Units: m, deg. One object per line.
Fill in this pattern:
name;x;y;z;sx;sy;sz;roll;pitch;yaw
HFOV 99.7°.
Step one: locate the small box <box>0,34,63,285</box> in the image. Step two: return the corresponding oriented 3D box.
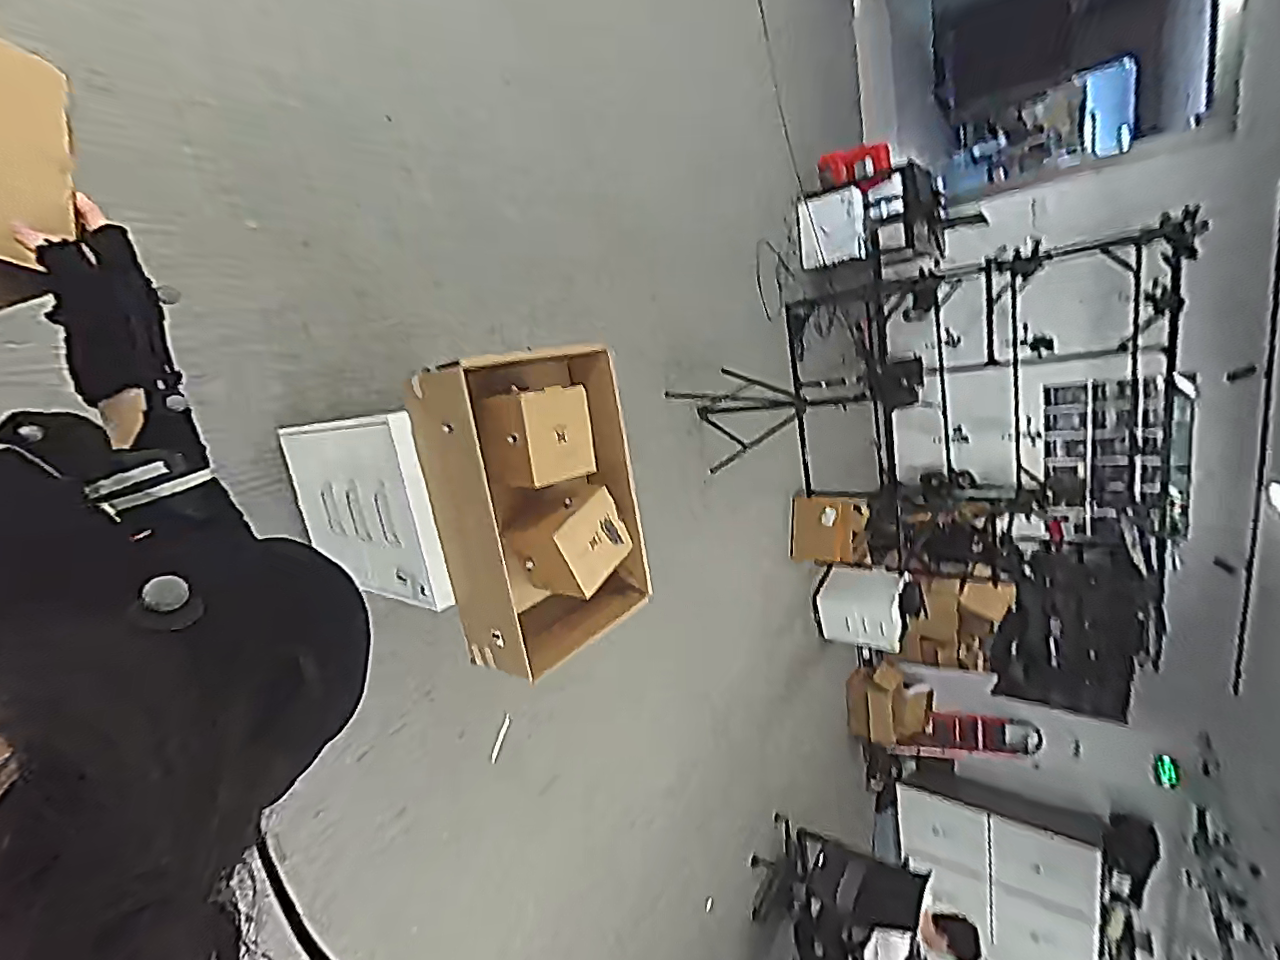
small box;-0.541;-0.227;0.347;0.179;0.176;0.168;-3;85;-73
